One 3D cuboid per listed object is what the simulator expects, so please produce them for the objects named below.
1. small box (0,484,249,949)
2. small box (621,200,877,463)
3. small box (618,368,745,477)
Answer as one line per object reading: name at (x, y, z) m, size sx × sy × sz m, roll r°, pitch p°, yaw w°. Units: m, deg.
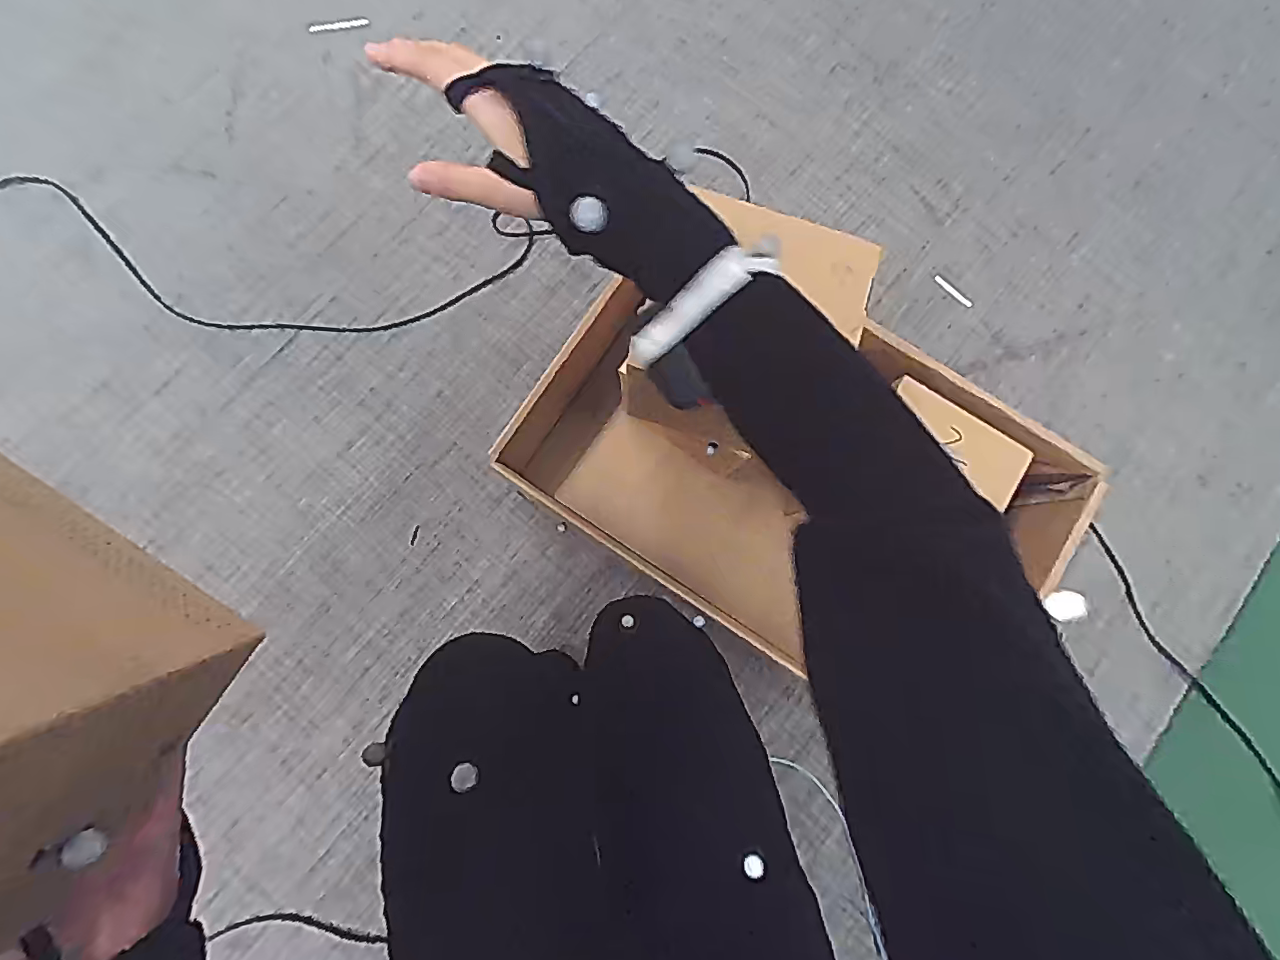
small box at (-0.311, 0.103, 0.198) m, size 0.179 × 0.176 × 0.168 m, roll 36°, pitch 88°, yaw -2°
small box at (0.089, -0.122, 0.519) m, size 0.179 × 0.176 × 0.168 m, roll 18°, pitch 82°, yaw 1°
small box at (0.087, -0.118, 0.683) m, size 0.179 × 0.176 × 0.168 m, roll 34°, pitch 83°, yaw 2°
